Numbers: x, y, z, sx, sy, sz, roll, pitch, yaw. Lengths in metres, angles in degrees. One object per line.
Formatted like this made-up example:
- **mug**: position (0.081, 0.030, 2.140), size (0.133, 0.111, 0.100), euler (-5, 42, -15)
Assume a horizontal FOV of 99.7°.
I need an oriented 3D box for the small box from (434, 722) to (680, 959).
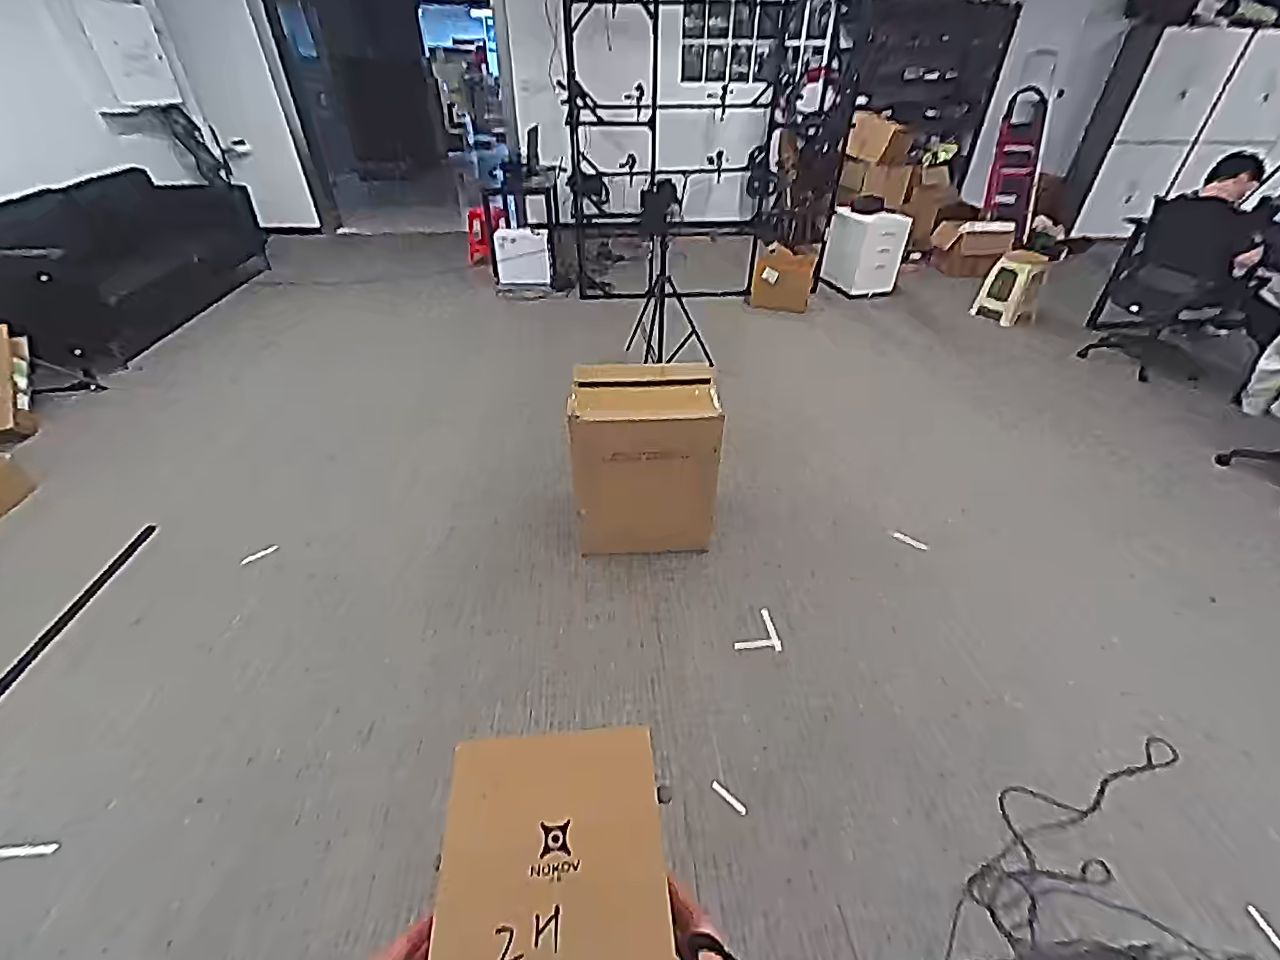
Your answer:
- **small box**: position (-0.066, 0.334, 0.461), size (0.168, 0.176, 0.179), euler (-2, 43, -6)
